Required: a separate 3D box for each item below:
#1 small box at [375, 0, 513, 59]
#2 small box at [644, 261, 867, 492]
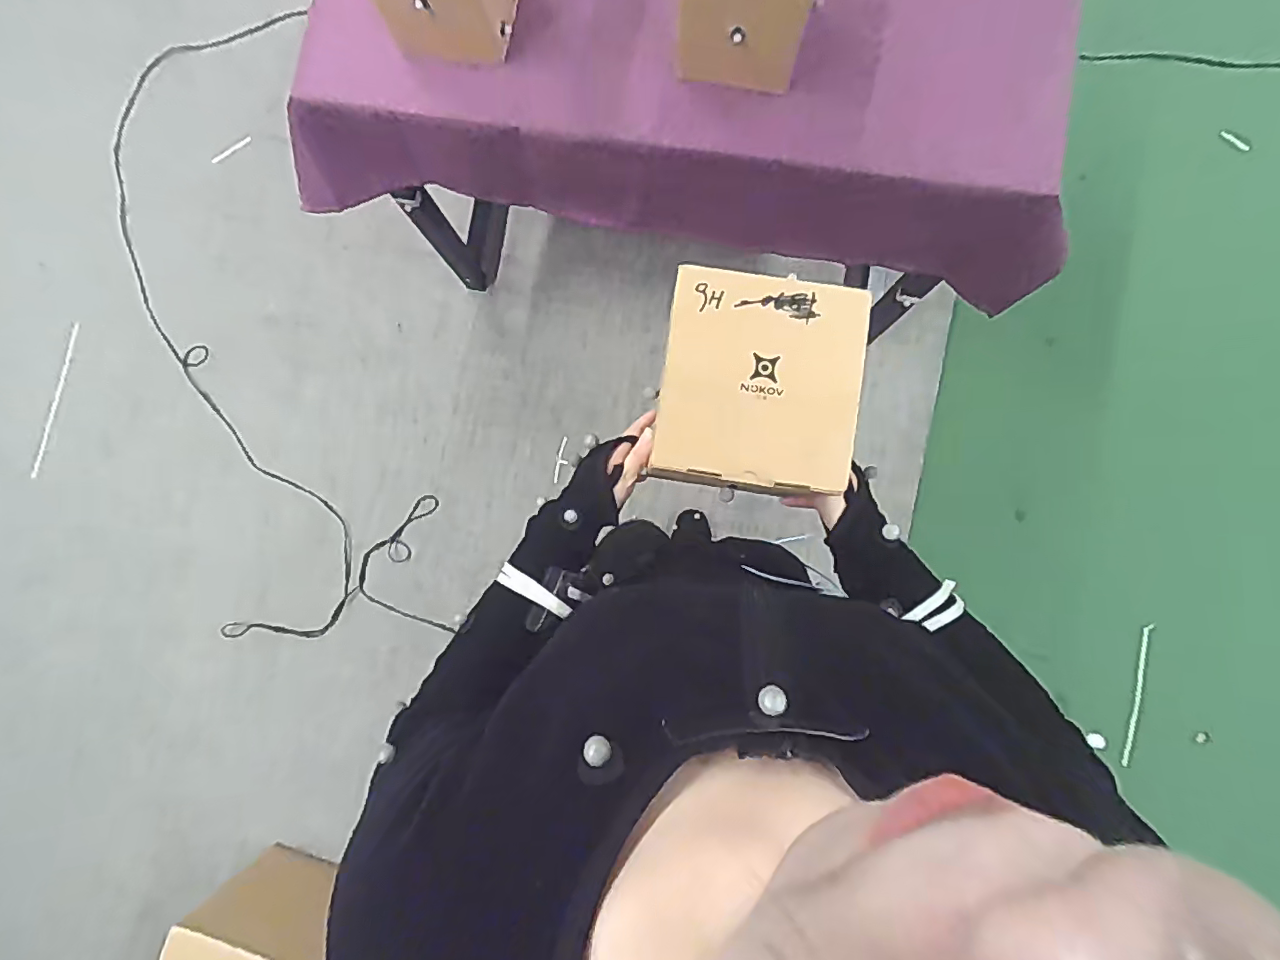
[{"bbox_3d":[-0.289,-0.761,0.786,0.179,0.176,0.168,11,85,3],"label":"small box"},{"bbox_3d":[0.098,-0.086,0.531,0.168,0.176,0.179,8,88,0],"label":"small box"}]
